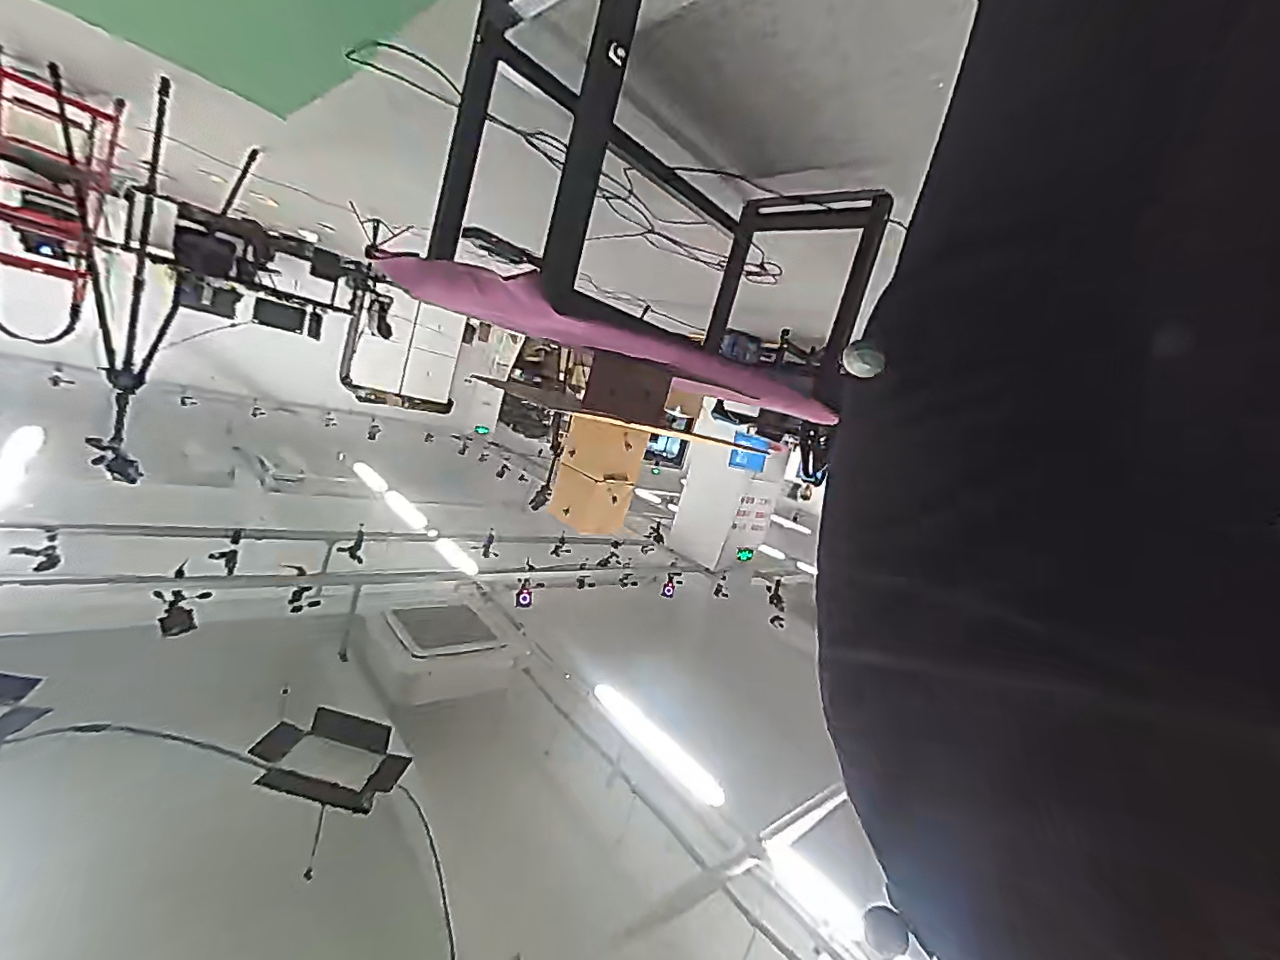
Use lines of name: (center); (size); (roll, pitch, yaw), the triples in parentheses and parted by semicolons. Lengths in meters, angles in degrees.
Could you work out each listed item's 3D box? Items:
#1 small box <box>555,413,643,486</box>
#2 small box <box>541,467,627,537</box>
small box: (-0.118, -0.094, 1.601); (0.179, 0.176, 0.168); (24, -168, 40)
small box: (-0.166, 0.060, 1.627); (0.168, 0.176, 0.179); (8, -167, -47)
